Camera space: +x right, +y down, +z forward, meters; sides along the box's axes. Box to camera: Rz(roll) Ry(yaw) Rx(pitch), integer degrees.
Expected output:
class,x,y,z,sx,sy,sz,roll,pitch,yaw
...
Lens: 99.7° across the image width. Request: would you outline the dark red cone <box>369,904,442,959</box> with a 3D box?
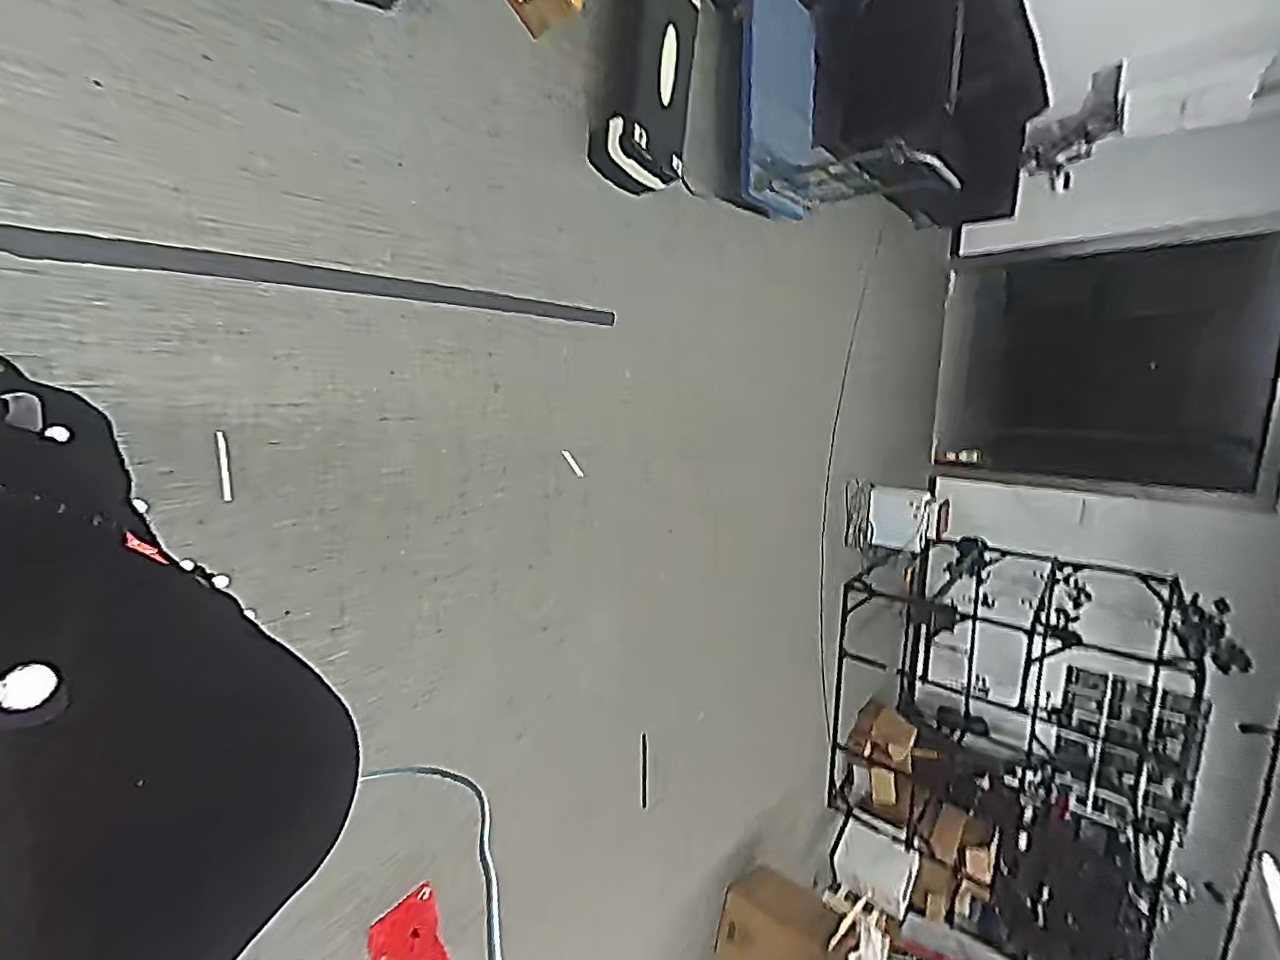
class,x,y,z,sx,sy,sz,roll,pitch,yaw
dark red cone,-0.565,1.406,1.481,0.201,0.394,0.202,-20,112,-45
